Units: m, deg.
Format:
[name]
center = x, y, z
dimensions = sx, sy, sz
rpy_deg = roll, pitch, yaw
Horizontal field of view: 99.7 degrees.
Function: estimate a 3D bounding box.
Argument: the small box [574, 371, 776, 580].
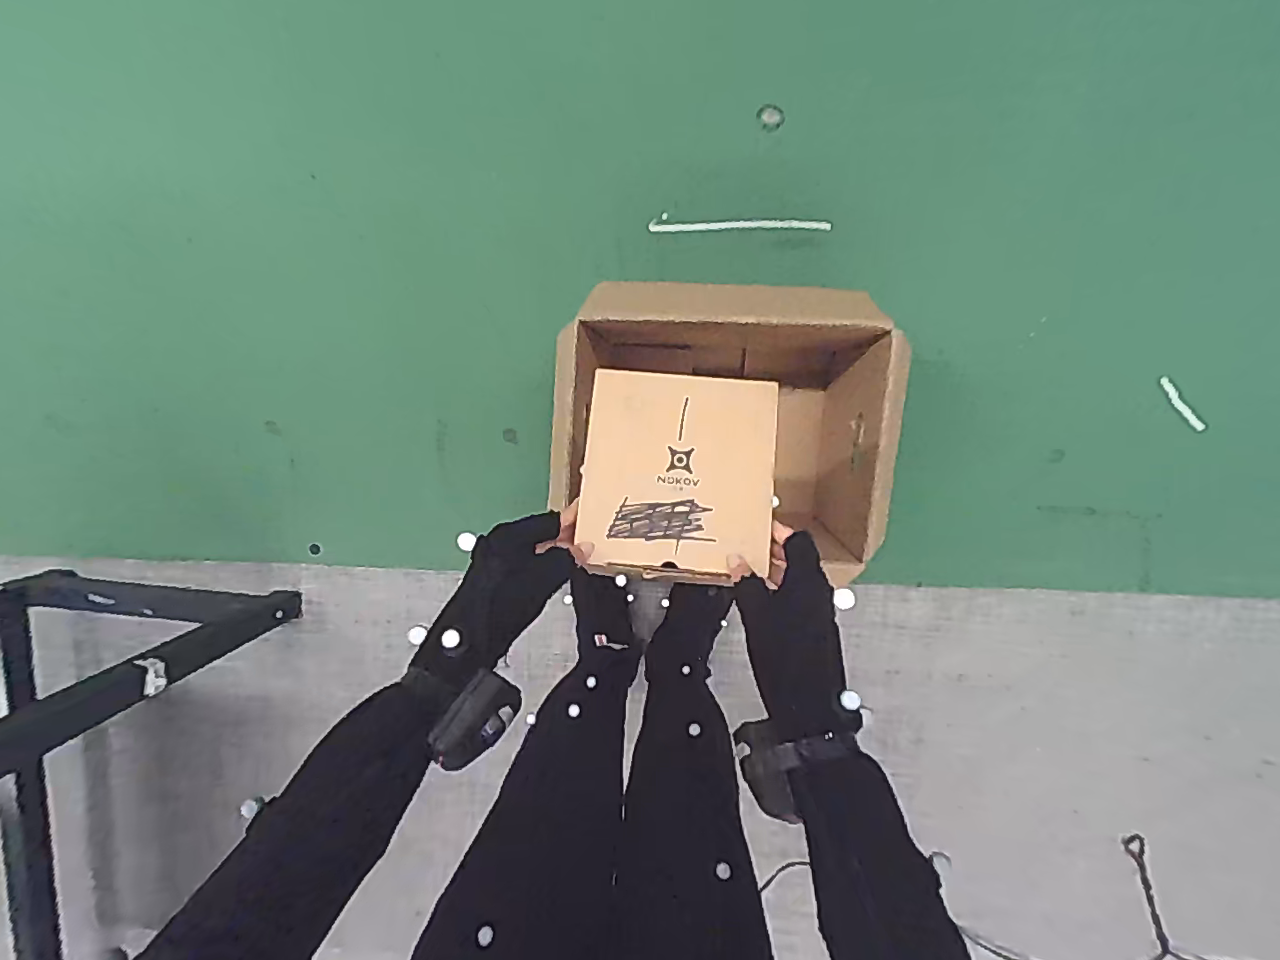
[small box]
center = 0.037, 0.007, 0.552
dimensions = 0.168, 0.176, 0.179
rpy_deg = 5, 79, 3
